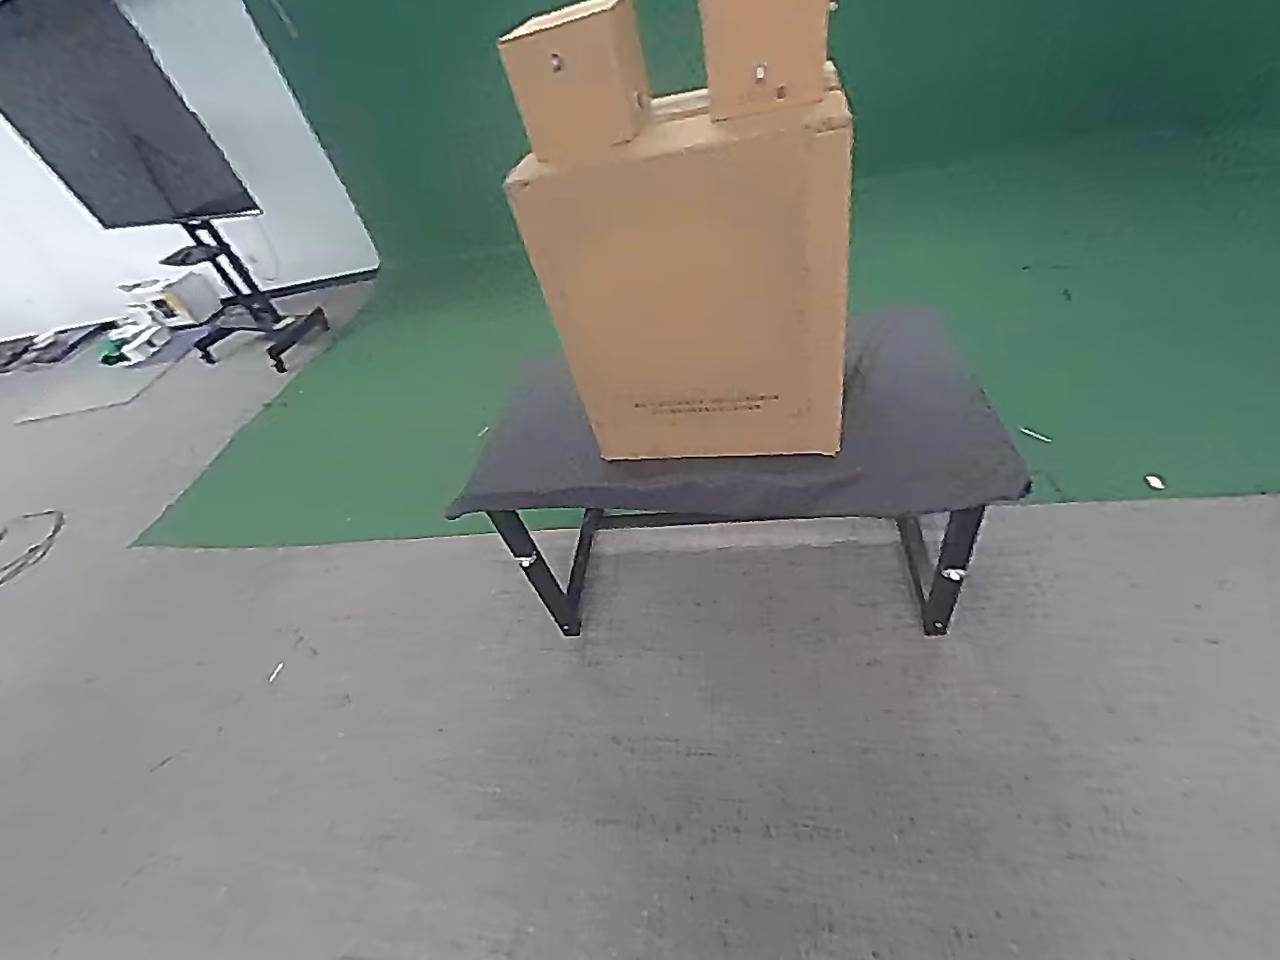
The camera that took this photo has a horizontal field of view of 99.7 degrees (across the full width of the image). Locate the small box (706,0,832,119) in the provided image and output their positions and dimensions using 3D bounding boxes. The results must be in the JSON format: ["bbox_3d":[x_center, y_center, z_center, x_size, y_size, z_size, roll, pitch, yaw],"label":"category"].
[{"bbox_3d":[0.191,-0.662,0.800,0.168,0.176,0.179,0,49,16],"label":"small box"}]

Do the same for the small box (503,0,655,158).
[{"bbox_3d":[-0.087,-0.643,0.873,0.179,0.176,0.168,0,49,16],"label":"small box"}]
